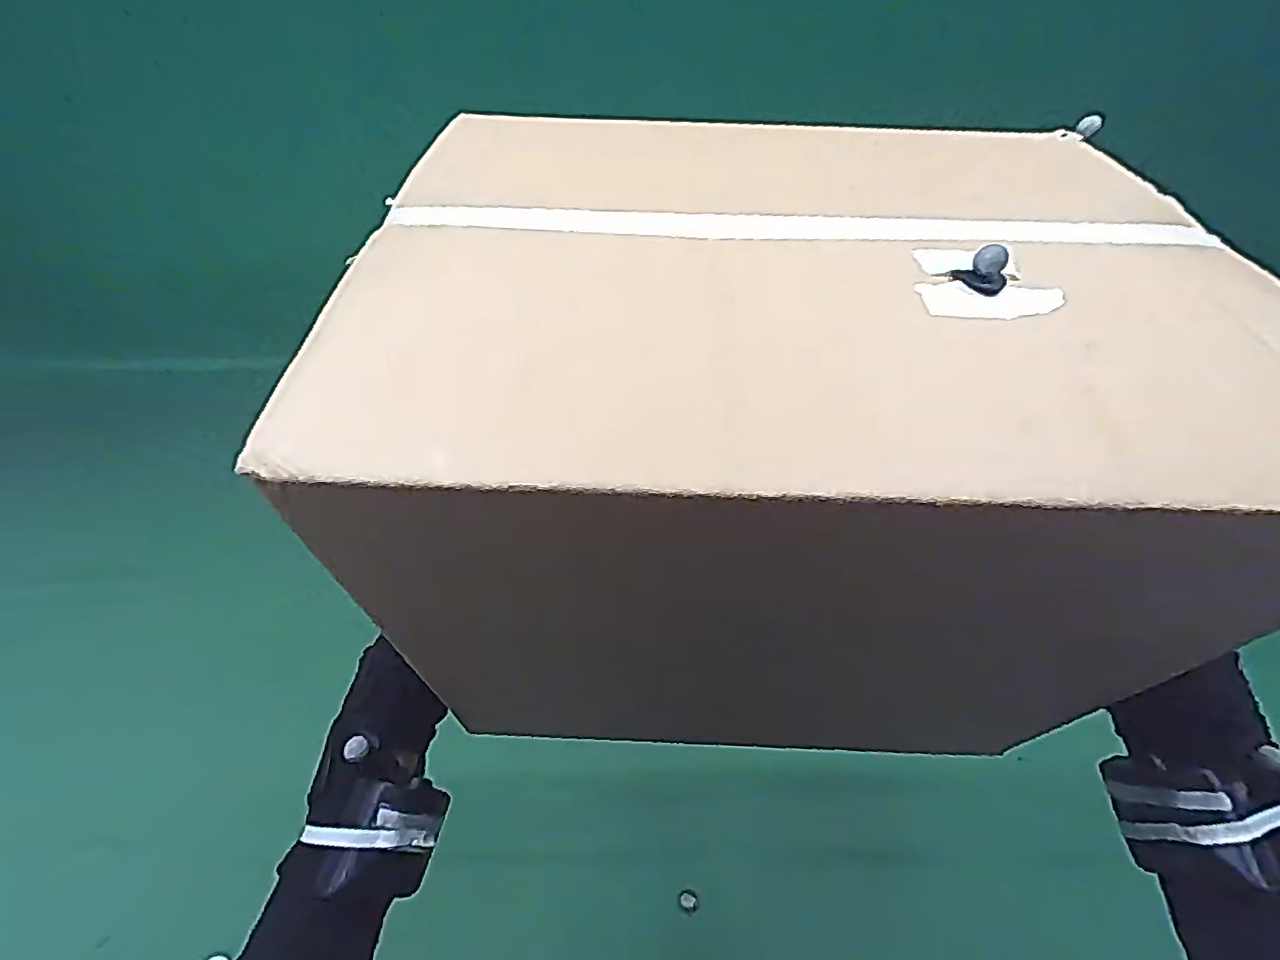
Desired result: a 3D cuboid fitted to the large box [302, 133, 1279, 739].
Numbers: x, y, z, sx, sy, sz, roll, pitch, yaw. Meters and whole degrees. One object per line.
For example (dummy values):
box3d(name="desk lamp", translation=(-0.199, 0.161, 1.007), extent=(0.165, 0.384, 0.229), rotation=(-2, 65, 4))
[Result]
box3d(name="large box", translation=(0.079, -0.019, 0.392), extent=(0.408, 0.320, 0.320), rotation=(3, 51, 0))
